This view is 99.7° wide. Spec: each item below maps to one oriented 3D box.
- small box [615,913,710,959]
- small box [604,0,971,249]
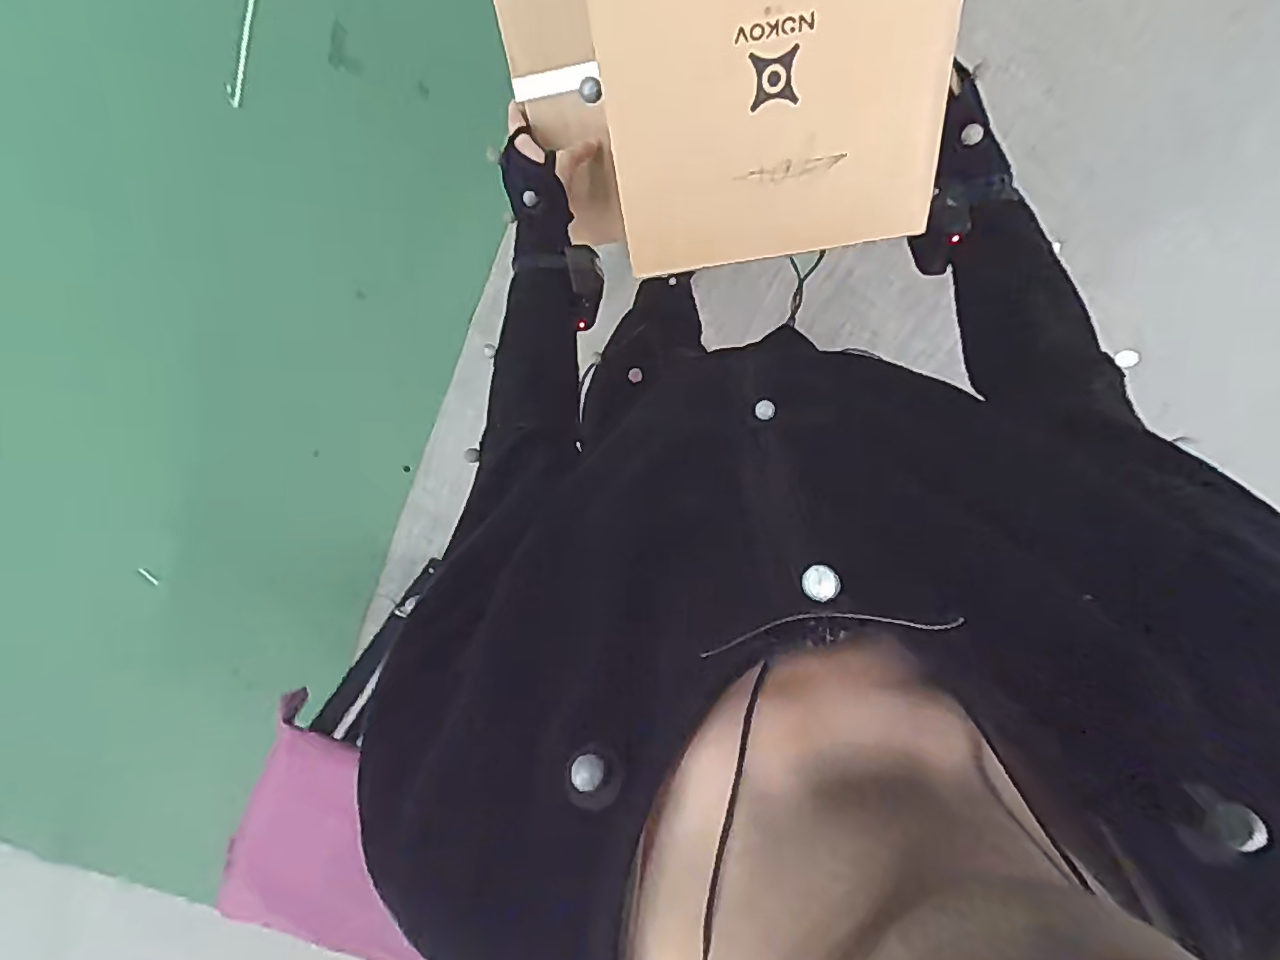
[{"bbox_3d":[0.044,1.066,1.133,0.168,0.176,0.179,27,110,-8],"label":"small box"},{"bbox_3d":[0.067,-0.255,0.311,0.168,0.176,0.179,-6,128,6],"label":"small box"}]
